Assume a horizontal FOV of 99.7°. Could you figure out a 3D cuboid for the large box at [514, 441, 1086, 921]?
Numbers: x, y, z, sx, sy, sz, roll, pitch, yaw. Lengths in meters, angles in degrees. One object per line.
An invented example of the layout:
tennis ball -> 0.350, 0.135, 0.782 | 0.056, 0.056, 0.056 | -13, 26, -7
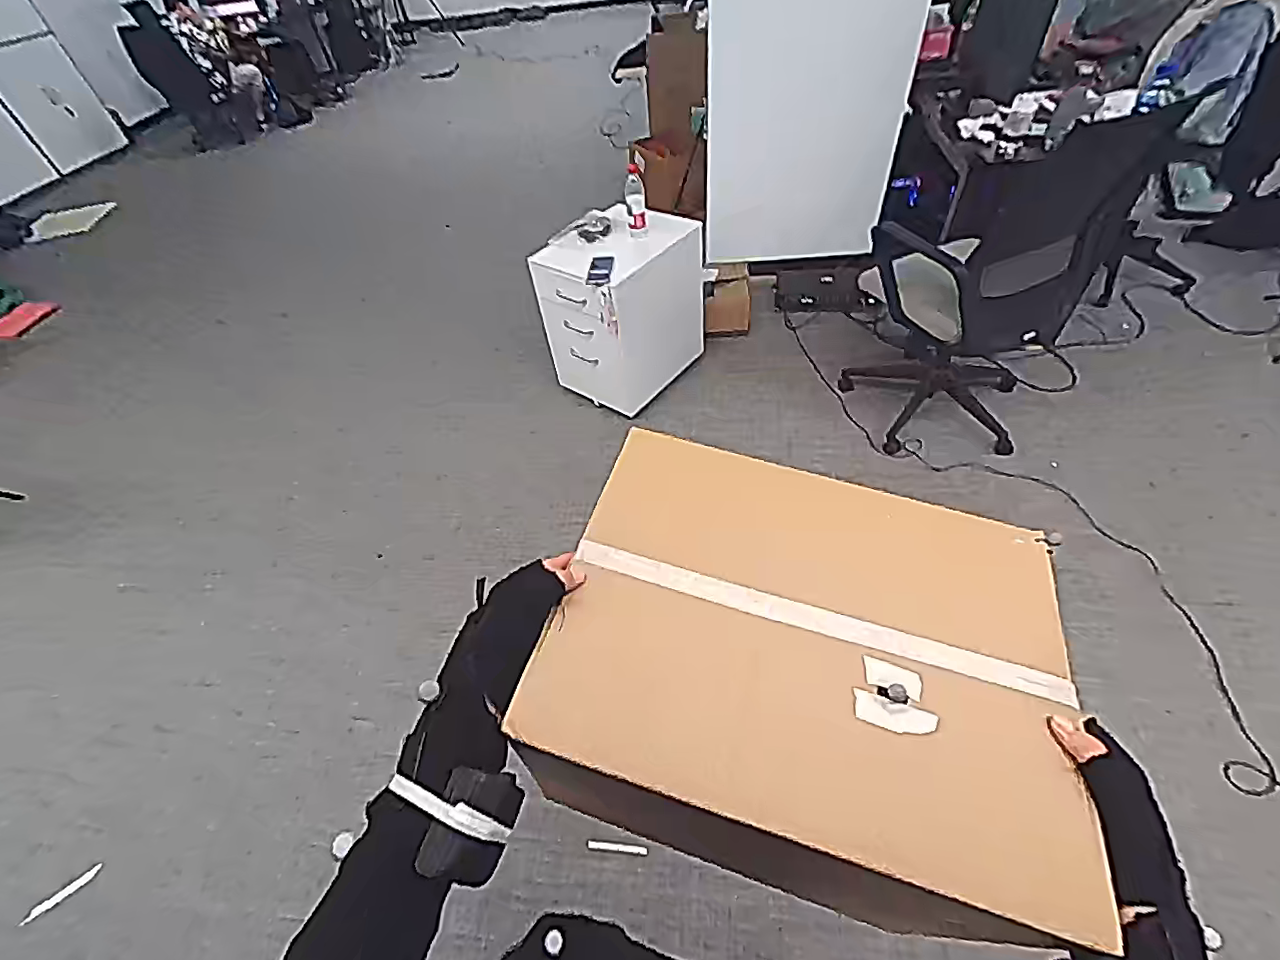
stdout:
large box -> 0.128, 0.209, 0.574 | 0.408, 0.320, 0.320 | 15, 54, 8
